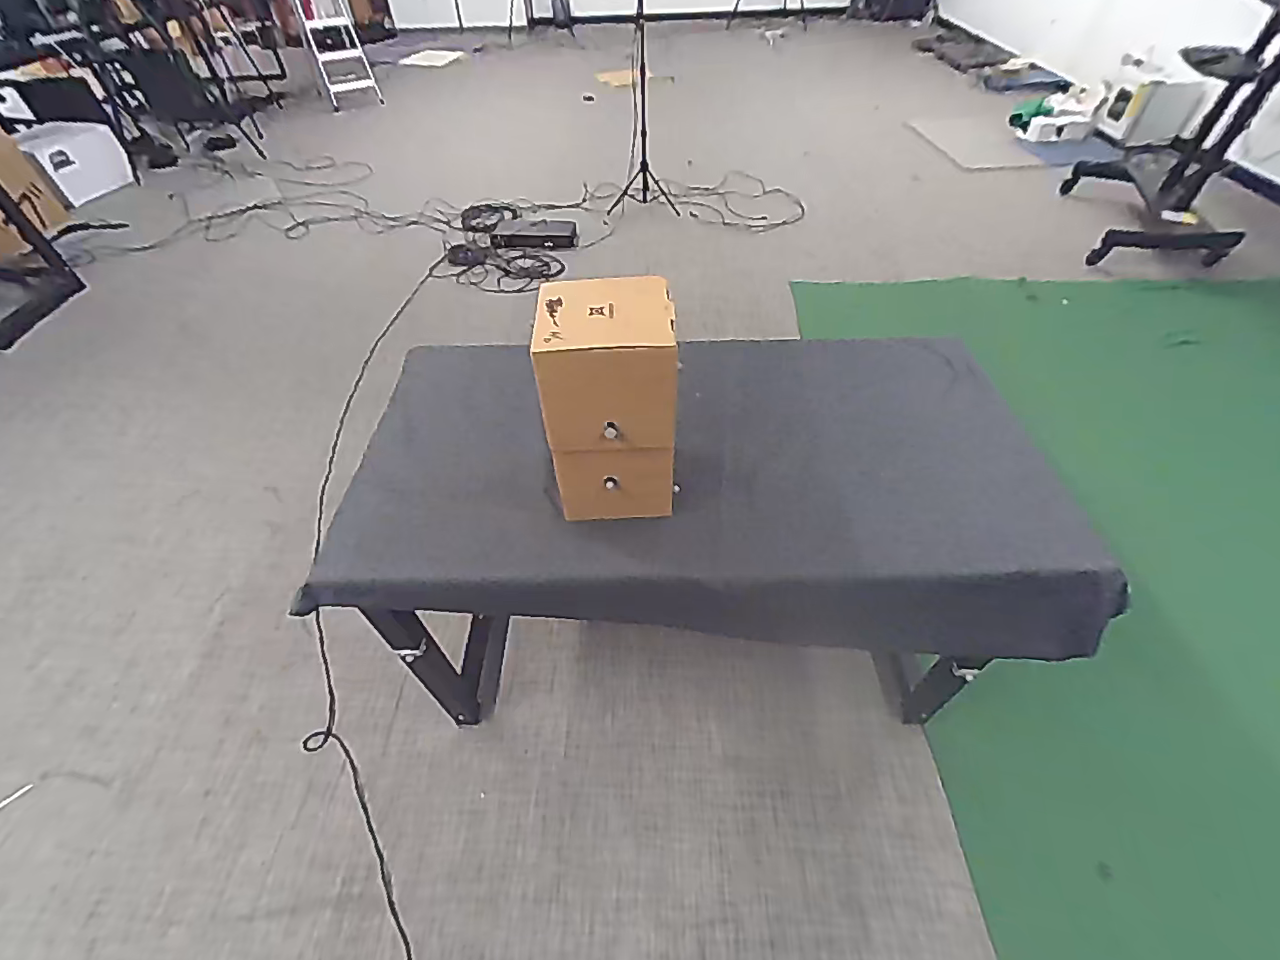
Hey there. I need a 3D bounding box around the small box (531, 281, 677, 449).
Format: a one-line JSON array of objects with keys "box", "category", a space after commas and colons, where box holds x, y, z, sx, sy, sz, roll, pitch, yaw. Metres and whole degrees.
[{"box": [-0.045, -0.157, 0.753, 0.179, 0.176, 0.168, -2, 48, -1], "category": "small box"}]

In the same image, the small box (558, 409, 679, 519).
[{"box": [-0.038, -0.053, 0.878, 0.179, 0.176, 0.168, -4, 49, -3], "category": "small box"}]
